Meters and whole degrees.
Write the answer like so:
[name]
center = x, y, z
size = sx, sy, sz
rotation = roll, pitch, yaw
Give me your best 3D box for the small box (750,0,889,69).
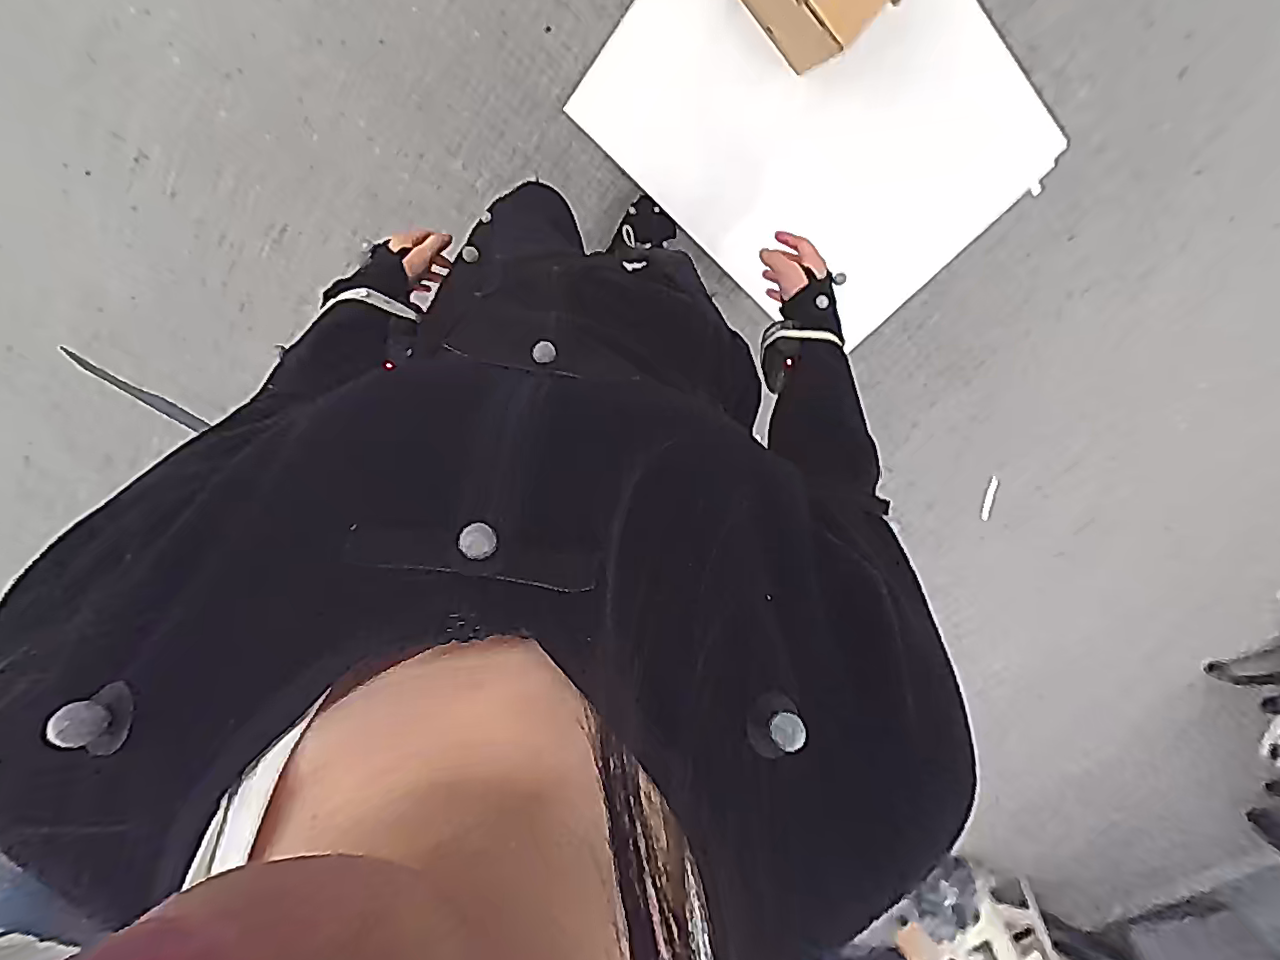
[small box]
center = 0.192, -0.547, 0.523
size = 0.168, 0.176, 0.179
rotation = 39, 113, -21
